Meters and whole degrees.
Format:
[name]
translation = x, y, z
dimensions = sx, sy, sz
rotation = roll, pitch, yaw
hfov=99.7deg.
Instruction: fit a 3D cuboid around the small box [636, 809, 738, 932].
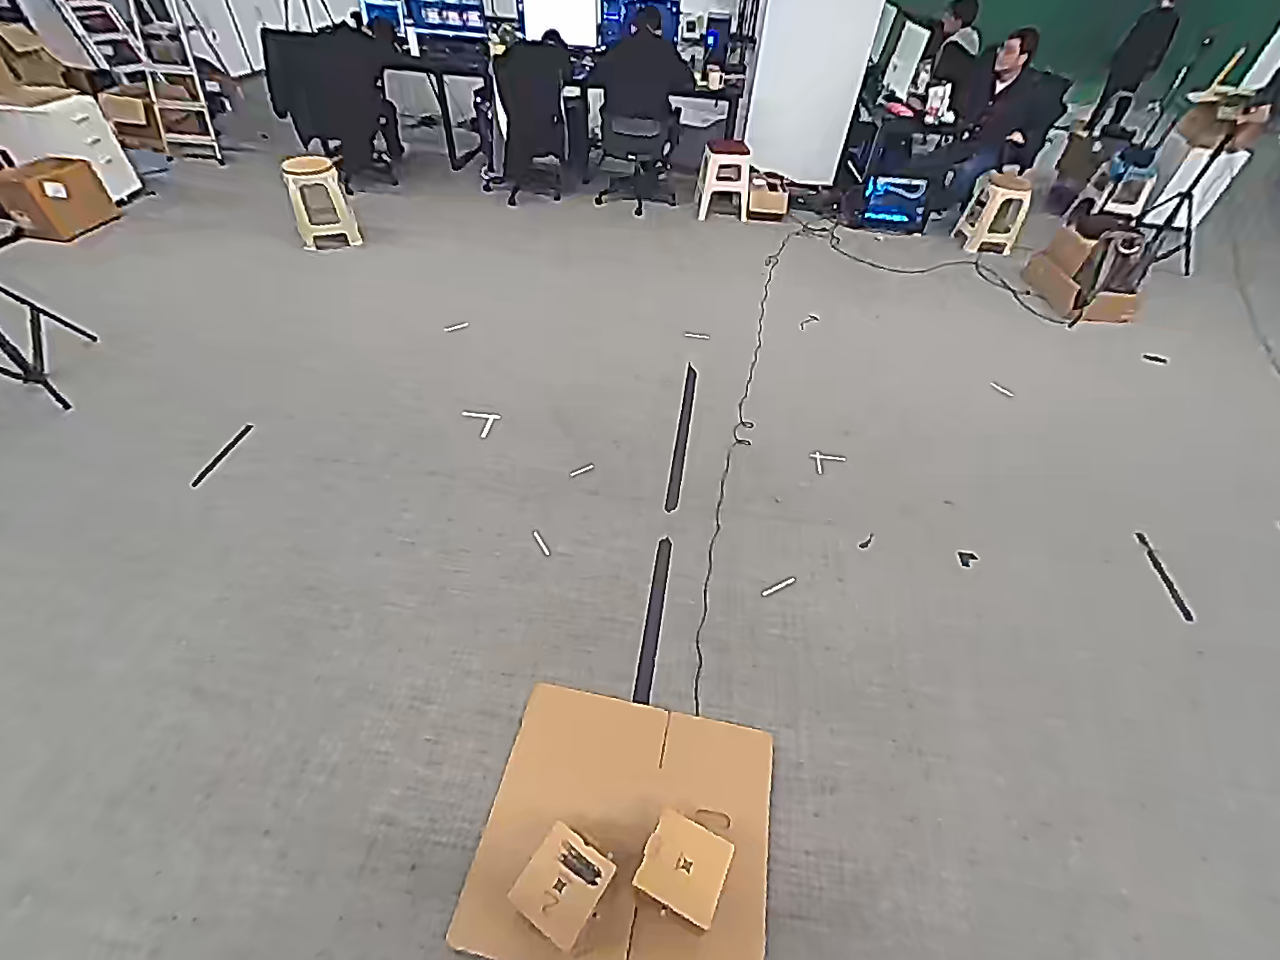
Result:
[small box]
translation = 0.106, 0.894, 1.235
dimensions = 0.179, 0.176, 0.168
rotation = 19, 49, 19
